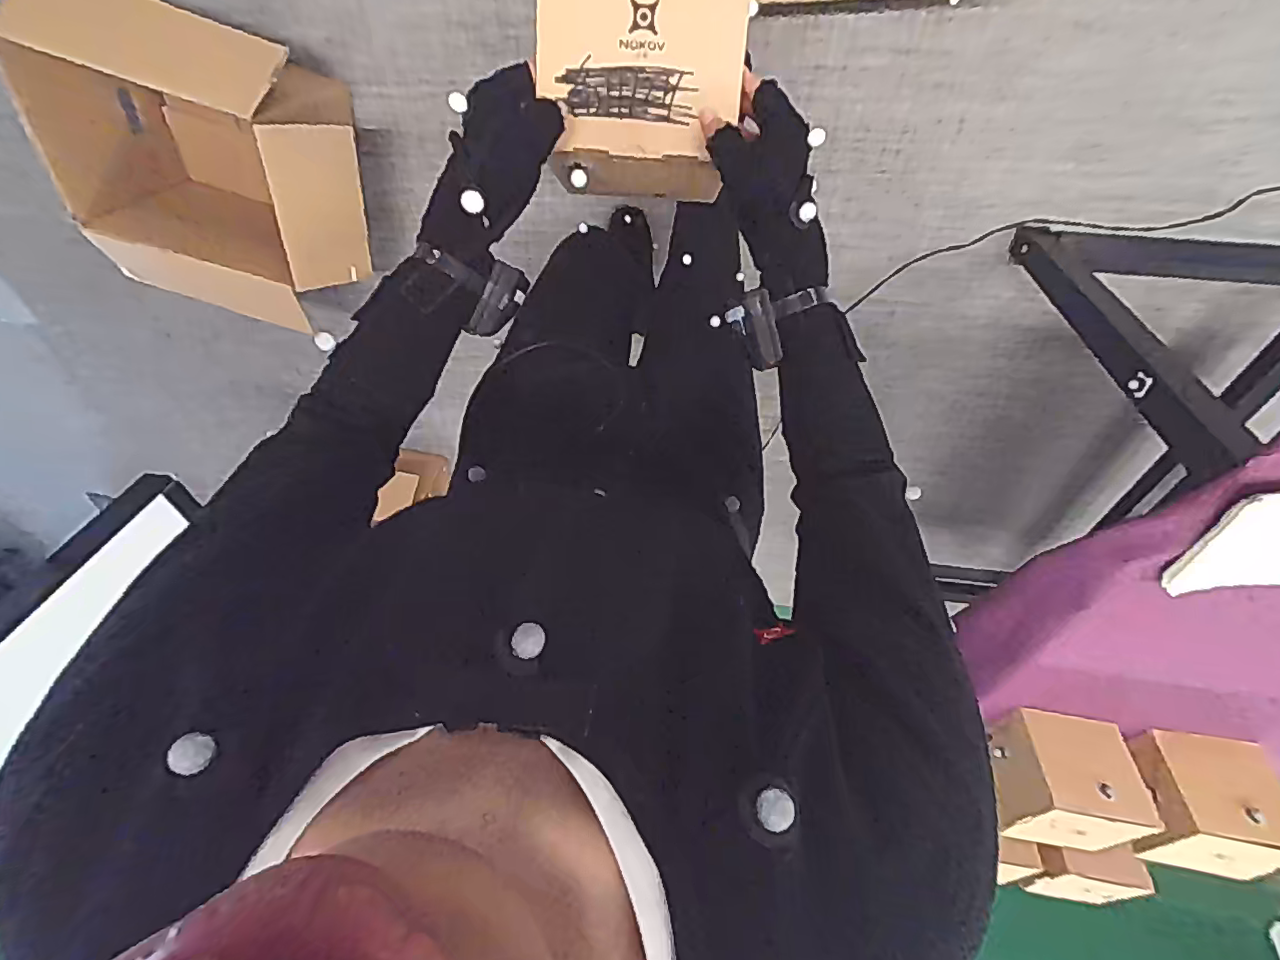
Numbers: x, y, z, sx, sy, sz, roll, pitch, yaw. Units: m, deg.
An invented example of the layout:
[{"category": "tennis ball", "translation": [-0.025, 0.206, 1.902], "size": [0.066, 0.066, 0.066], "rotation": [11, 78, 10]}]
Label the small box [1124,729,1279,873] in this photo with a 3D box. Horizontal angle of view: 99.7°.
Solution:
[{"category": "small box", "translation": [0.973, 0.557, 0.946], "size": [0.179, 0.176, 0.168], "rotation": [6, 135, 6]}]

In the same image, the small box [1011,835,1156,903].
[{"category": "small box", "translation": [0.945, 0.796, 1.187], "size": [0.179, 0.176, 0.168], "rotation": [12, 136, 1]}]

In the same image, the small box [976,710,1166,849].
[{"category": "small box", "translation": [0.747, 0.530, 0.962], "size": [0.179, 0.176, 0.168], "rotation": [10, 135, 2]}]
